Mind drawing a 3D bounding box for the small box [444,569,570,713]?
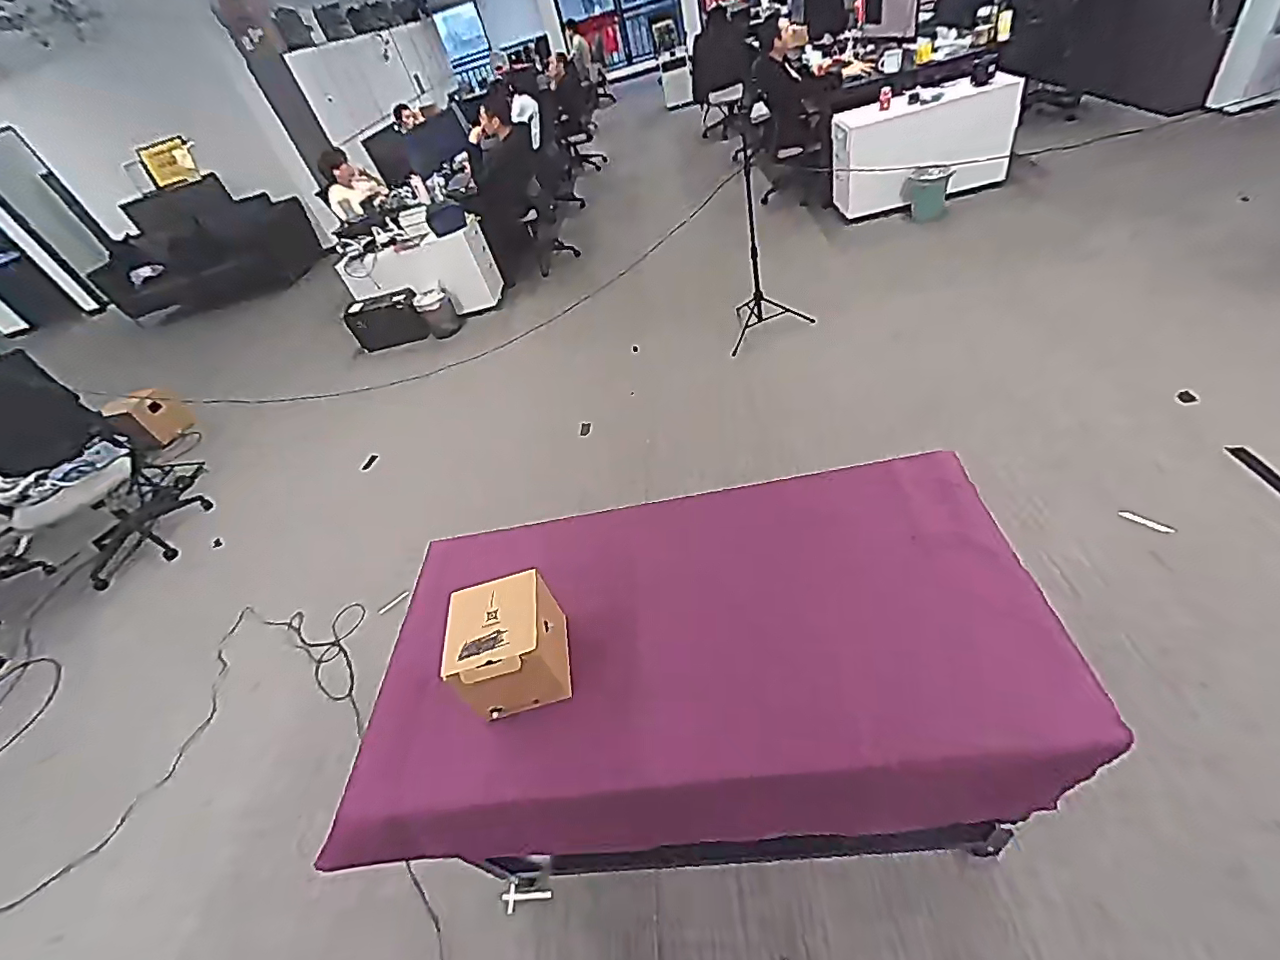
[{"bbox_3d":[-0.229,0.296,0.972,0.168,0.176,0.179,-16,41,2],"label":"small box"}]
